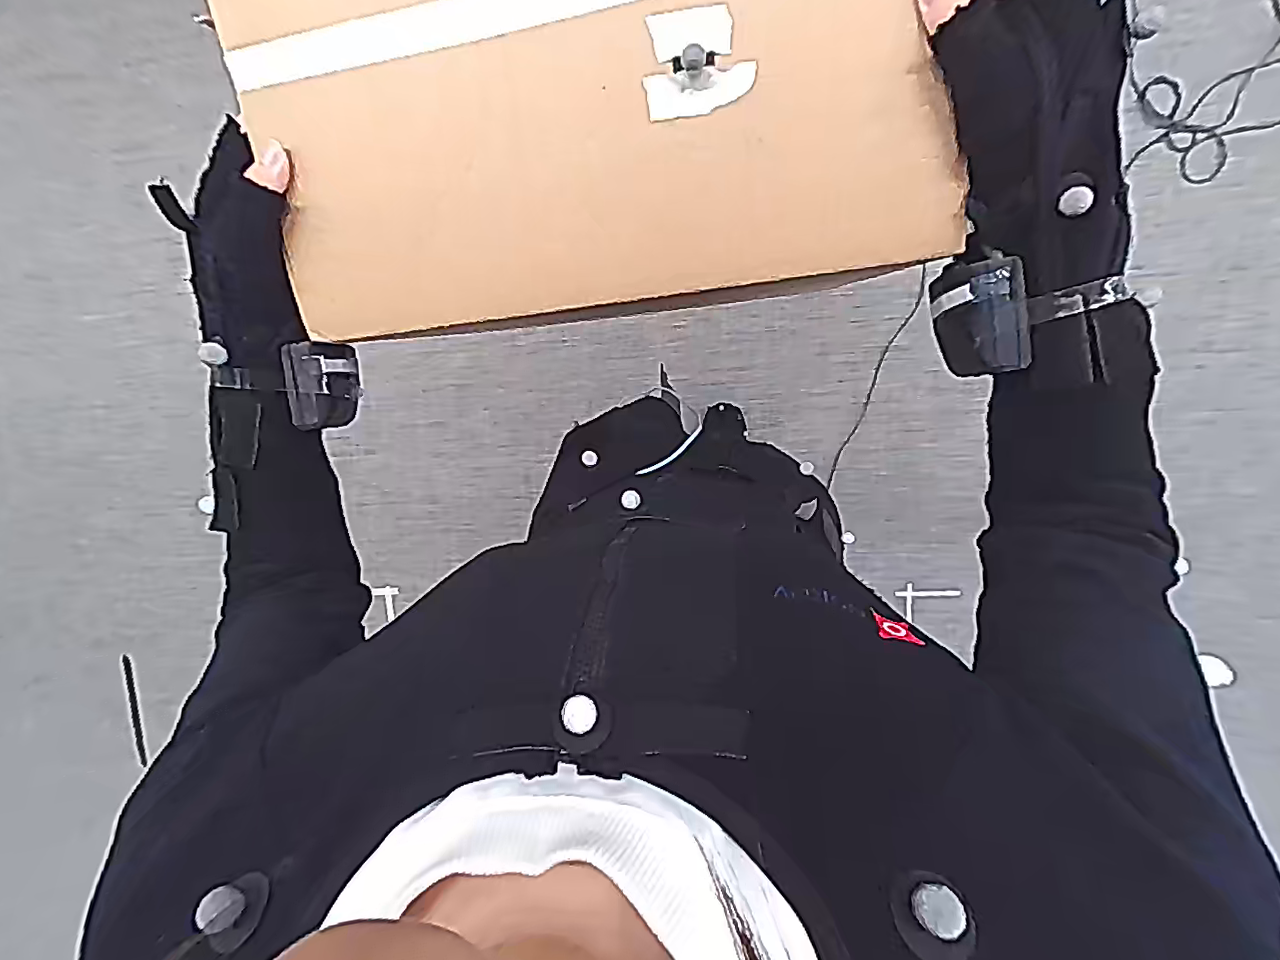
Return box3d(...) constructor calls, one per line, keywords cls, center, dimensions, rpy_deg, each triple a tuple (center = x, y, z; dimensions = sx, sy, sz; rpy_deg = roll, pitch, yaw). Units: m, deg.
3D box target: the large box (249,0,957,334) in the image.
box3d(cls="large box", center=(-0.018, -0.308, 0.444), dimensions=(0.408, 0.320, 0.320), rpy_deg=(-5, 106, 9))
